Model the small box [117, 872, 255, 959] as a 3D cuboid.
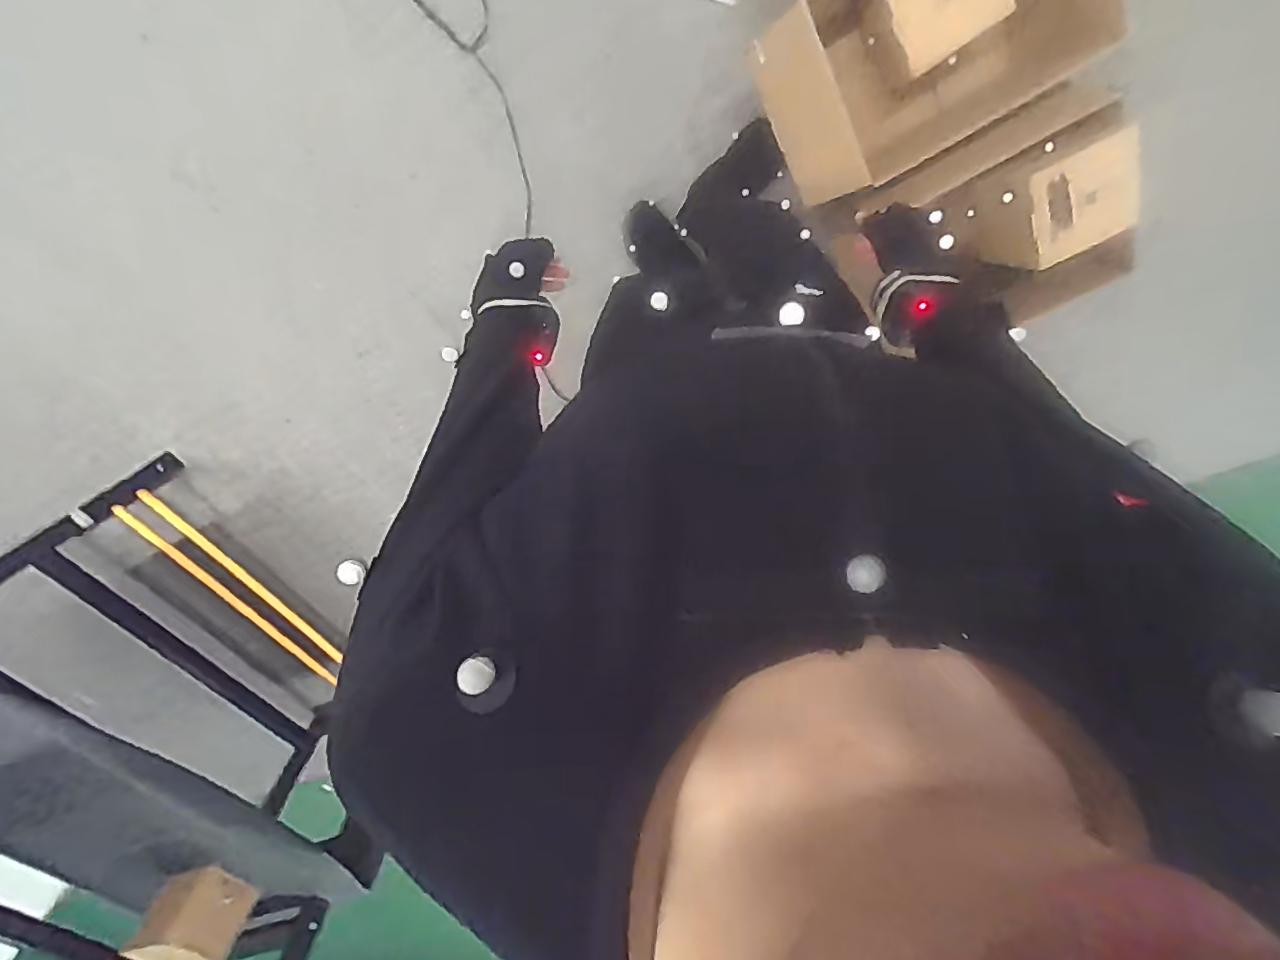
[{"bbox_3d":[-1.143,1.141,1.377,0.179,0.176,0.168,-25,118,15],"label":"small box"}]
